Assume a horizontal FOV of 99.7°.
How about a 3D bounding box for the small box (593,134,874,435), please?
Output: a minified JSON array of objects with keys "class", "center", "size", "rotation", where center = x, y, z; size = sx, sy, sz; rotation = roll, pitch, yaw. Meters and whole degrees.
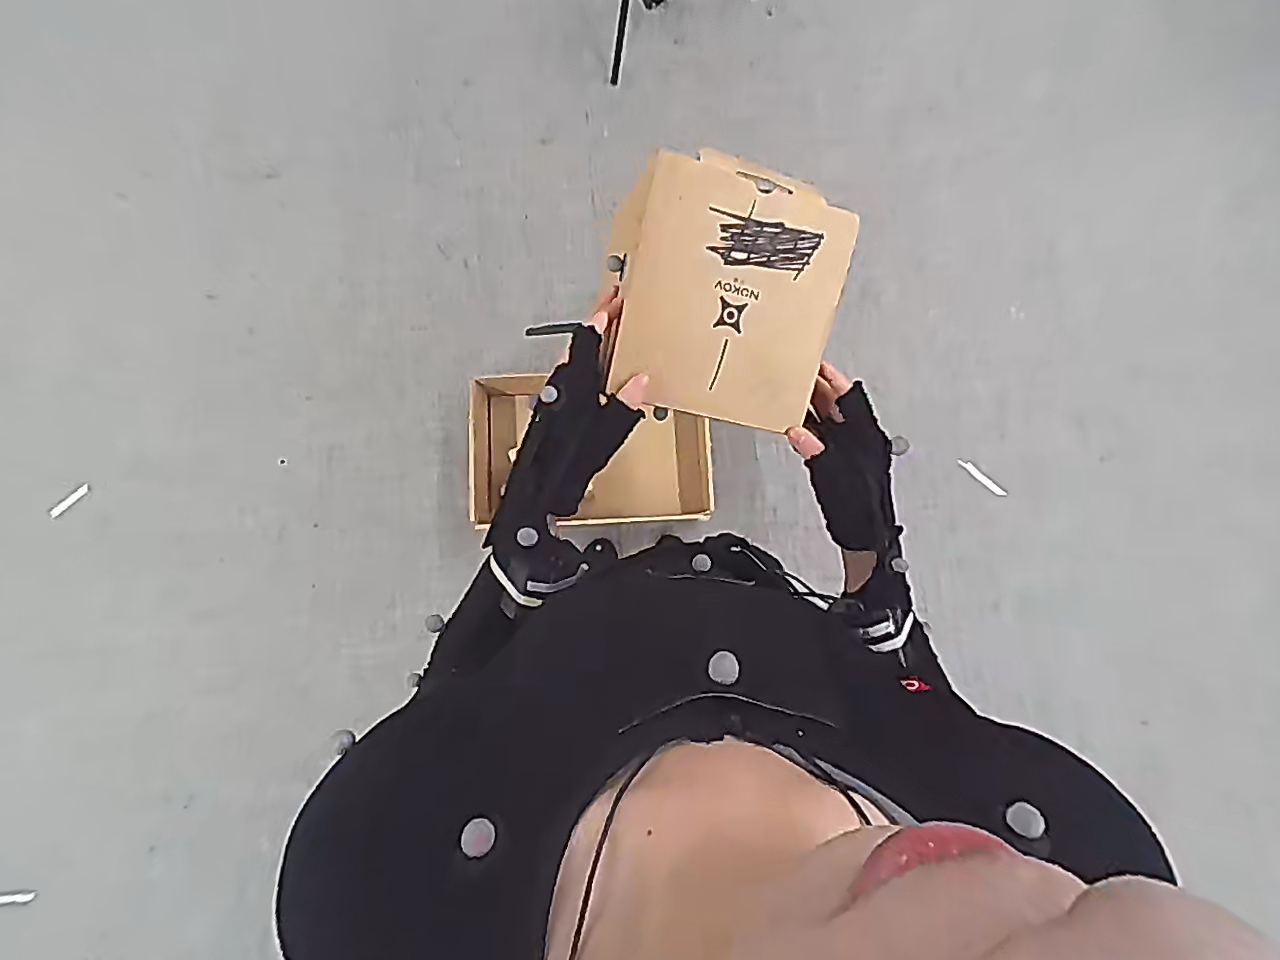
[{"class":"small box","center":[0.061,-0.151,0.468],"size":[0.168,0.176,0.179],"rotation":[11,101,-14]}]
